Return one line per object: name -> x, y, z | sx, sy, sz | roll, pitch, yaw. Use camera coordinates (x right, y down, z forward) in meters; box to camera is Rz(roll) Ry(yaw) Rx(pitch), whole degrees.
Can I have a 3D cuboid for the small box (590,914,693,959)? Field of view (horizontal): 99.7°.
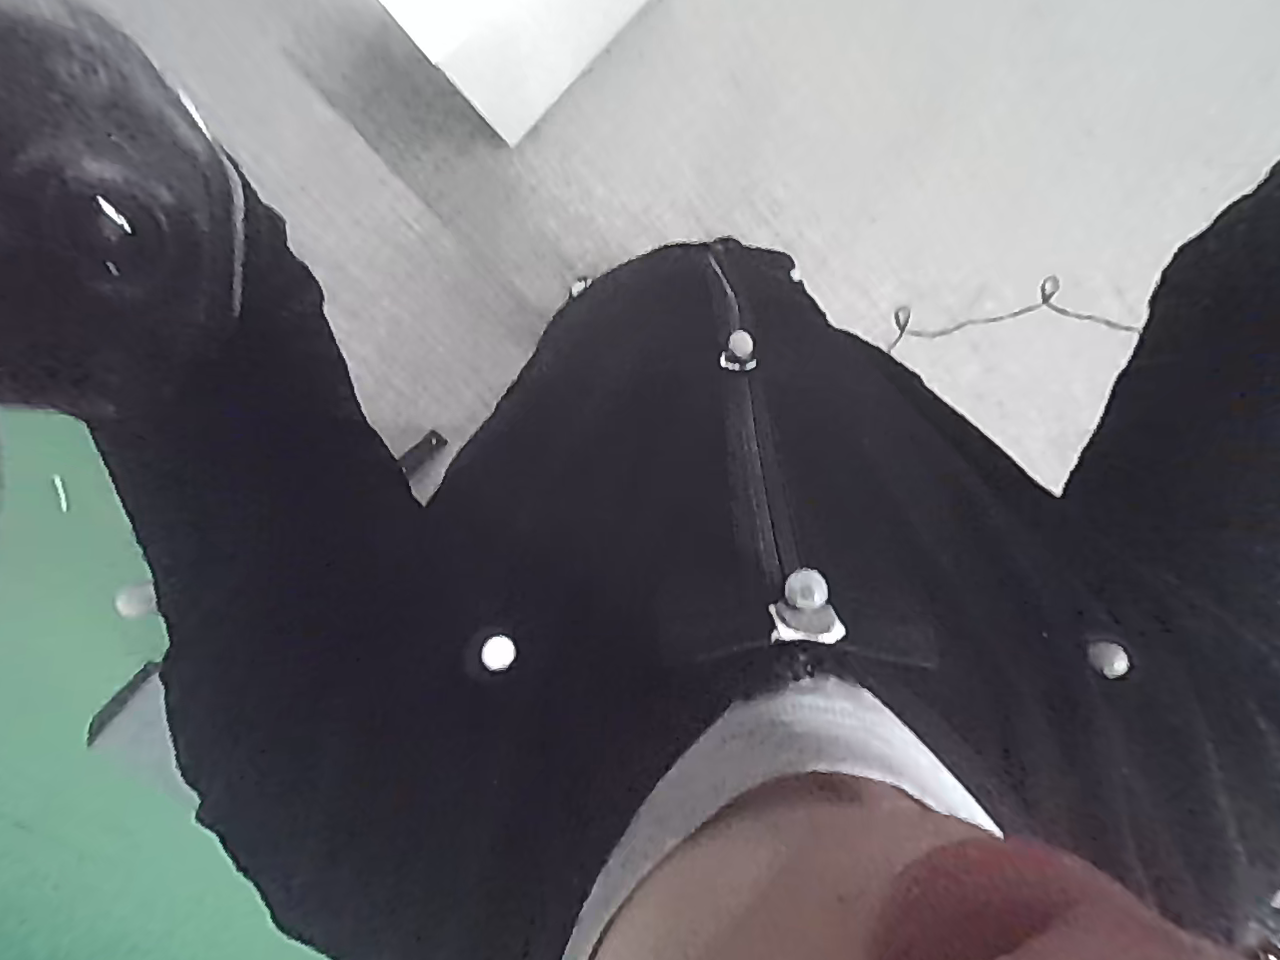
small box -> 0.002, 1.058, 1.130 | 0.168, 0.176, 0.179 | -39, 106, 13
